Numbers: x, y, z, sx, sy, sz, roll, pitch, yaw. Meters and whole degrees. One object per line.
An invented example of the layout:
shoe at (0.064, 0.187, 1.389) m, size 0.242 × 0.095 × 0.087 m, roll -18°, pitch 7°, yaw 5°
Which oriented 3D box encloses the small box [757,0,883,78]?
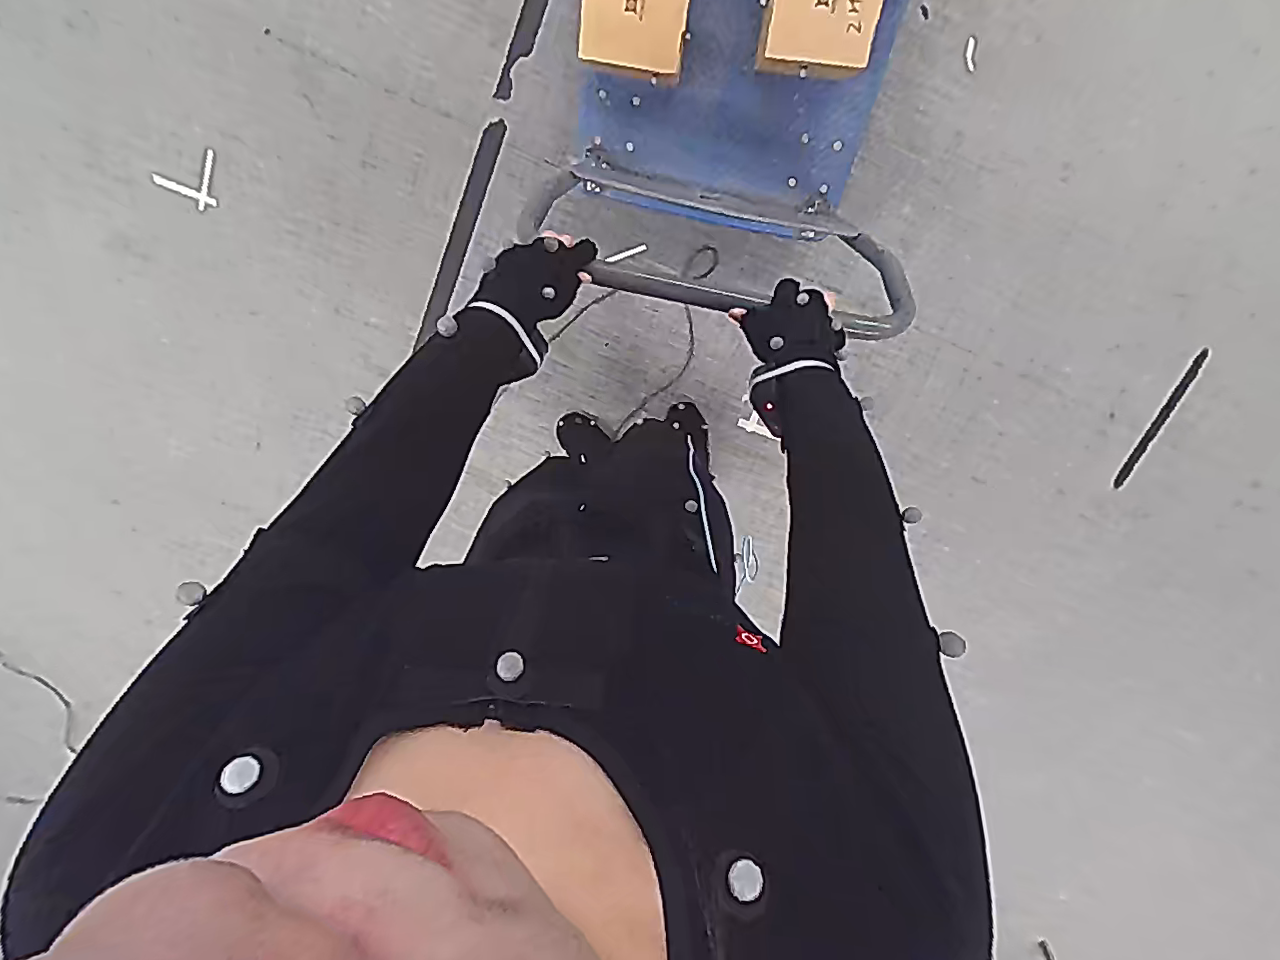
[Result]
small box at (0.309, -0.813, 0.935) m, size 0.179 × 0.176 × 0.168 m, roll 7°, pitch 121°, yaw 1°

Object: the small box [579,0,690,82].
small box at (-0.004, -0.824, 0.957) m, size 0.179 × 0.176 × 0.168 m, roll 8°, pitch 121°, yaw -2°
